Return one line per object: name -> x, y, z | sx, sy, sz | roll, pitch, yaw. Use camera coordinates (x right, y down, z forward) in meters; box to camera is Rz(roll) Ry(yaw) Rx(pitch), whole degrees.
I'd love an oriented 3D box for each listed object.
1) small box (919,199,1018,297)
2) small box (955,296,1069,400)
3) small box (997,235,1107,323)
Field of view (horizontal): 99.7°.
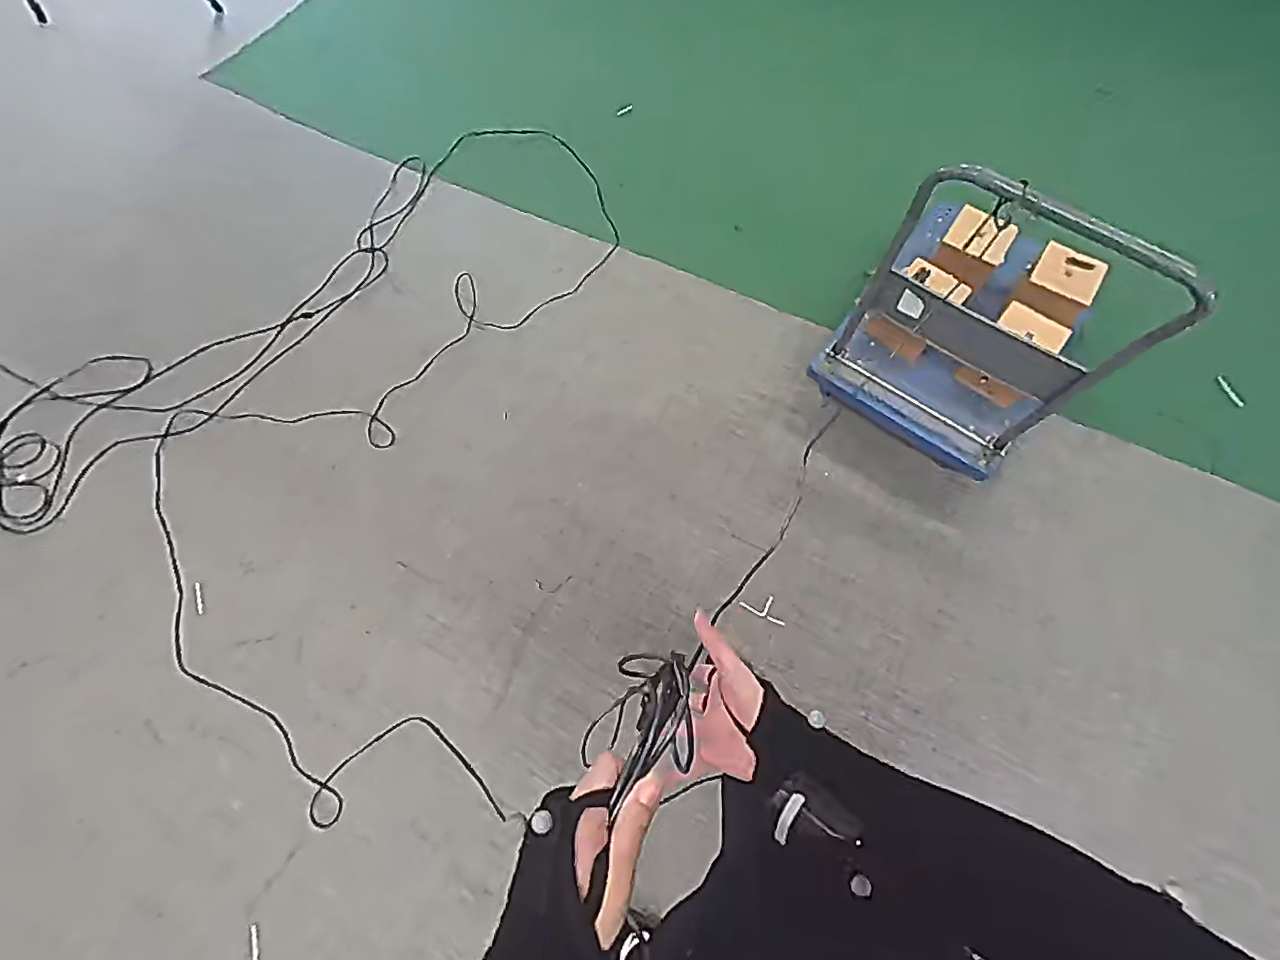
small box -> 0.968, -0.685, 1.611 | 0.168, 0.176, 0.179 | 33, 72, 12
small box -> 1.007, -0.356, 1.480 | 0.168, 0.176, 0.179 | 37, 73, 14
small box -> 1.175, -0.554, 1.556 | 0.168, 0.176, 0.179 | 33, 73, 13
